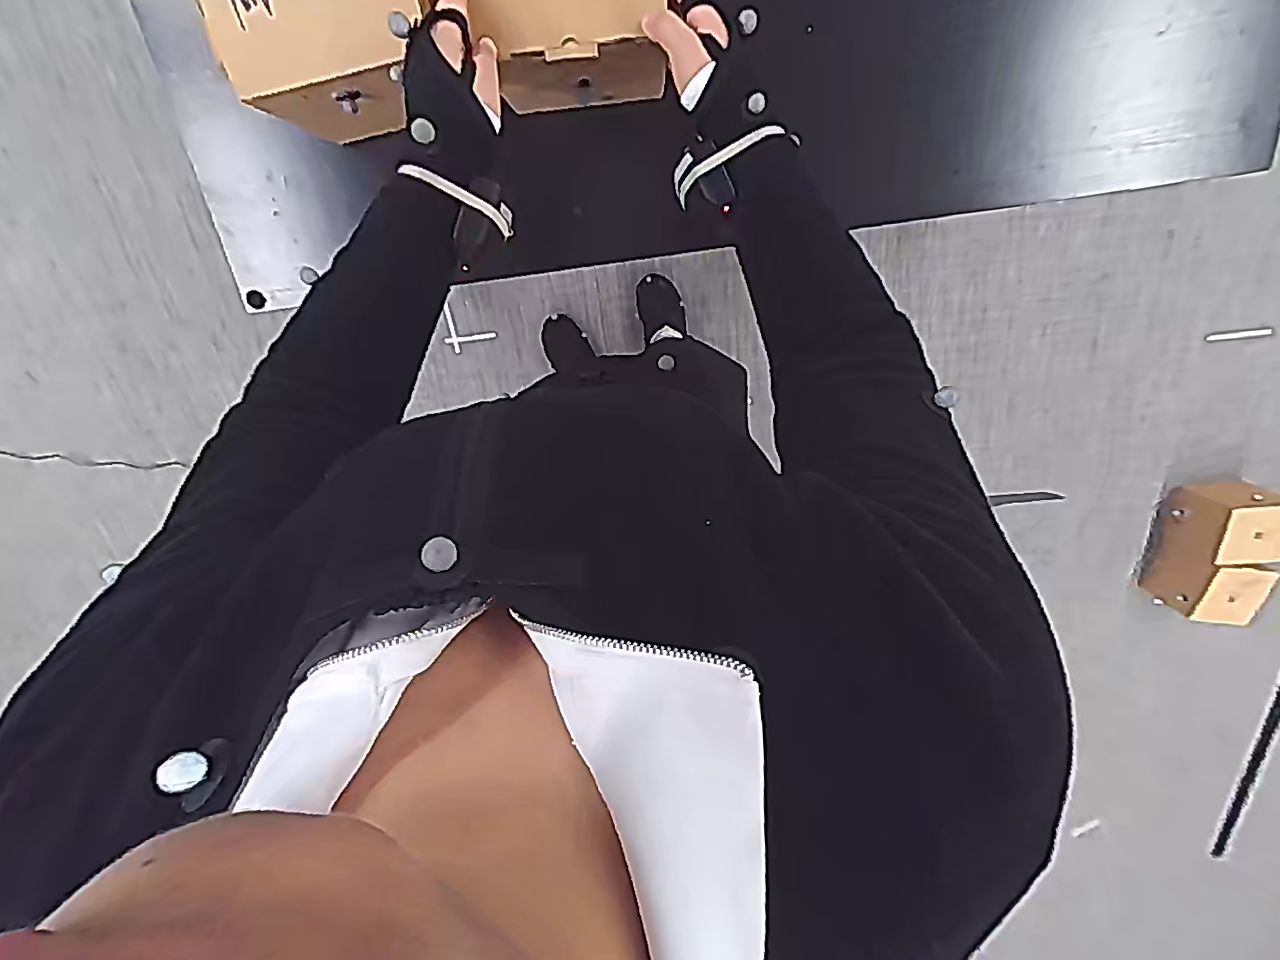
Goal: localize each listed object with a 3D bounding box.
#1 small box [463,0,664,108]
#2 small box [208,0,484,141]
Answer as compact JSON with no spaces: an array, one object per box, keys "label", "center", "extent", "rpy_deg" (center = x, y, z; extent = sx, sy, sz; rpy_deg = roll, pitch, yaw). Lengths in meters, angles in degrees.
[{"label":"small box","center":[-0.066,-0.464,0.497],"extent":[0.168,0.176,0.179],"rpy_deg":[-5,112,1]},{"label":"small box","center":[-0.271,-0.443,0.508],"extent":[0.179,0.176,0.168],"rpy_deg":[-11,111,4]}]
